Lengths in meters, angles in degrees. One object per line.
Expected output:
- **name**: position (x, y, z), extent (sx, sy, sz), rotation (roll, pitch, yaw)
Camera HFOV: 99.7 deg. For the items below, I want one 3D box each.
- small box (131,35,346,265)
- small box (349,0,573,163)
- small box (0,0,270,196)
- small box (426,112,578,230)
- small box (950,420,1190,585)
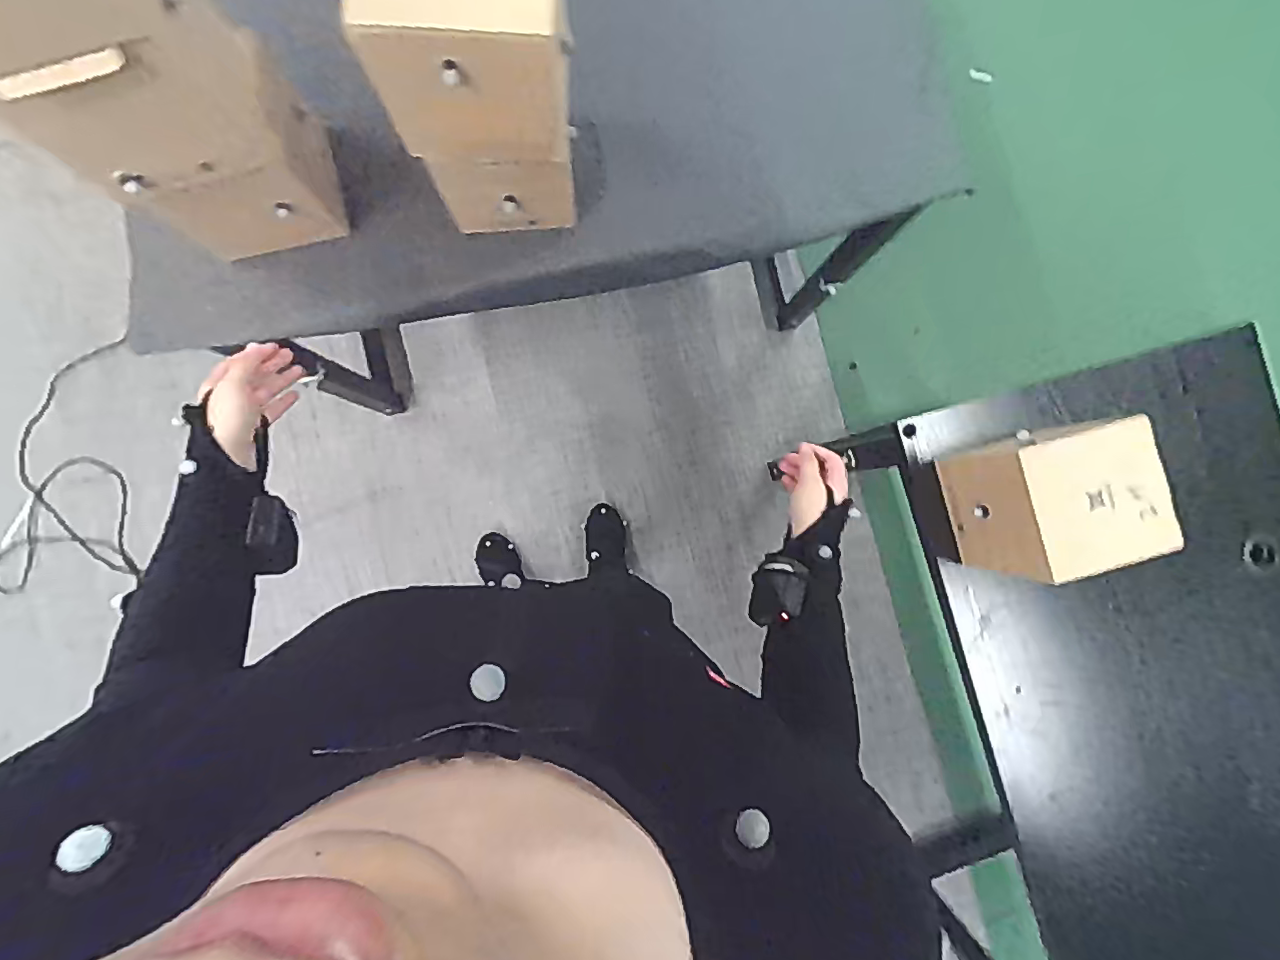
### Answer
- **small box**: position (-0.502, -0.402, 0.687), extent (0.179, 0.176, 0.168), rotation (-15, 87, -3)
- **small box**: position (-0.160, -0.446, 0.540), extent (0.179, 0.176, 0.168), rotation (0, 87, -2)
- **small box**: position (-0.504, -0.408, 0.522), extent (0.168, 0.176, 0.179), rotation (-19, 86, -4)
- **small box**: position (-0.173, -0.445, 0.703), extent (0.168, 0.176, 0.179), rotation (-5, 88, -3)
- **small box**: position (0.547, 0.029, 0.719), extent (0.179, 0.176, 0.168), rotation (-15, 90, -4)
